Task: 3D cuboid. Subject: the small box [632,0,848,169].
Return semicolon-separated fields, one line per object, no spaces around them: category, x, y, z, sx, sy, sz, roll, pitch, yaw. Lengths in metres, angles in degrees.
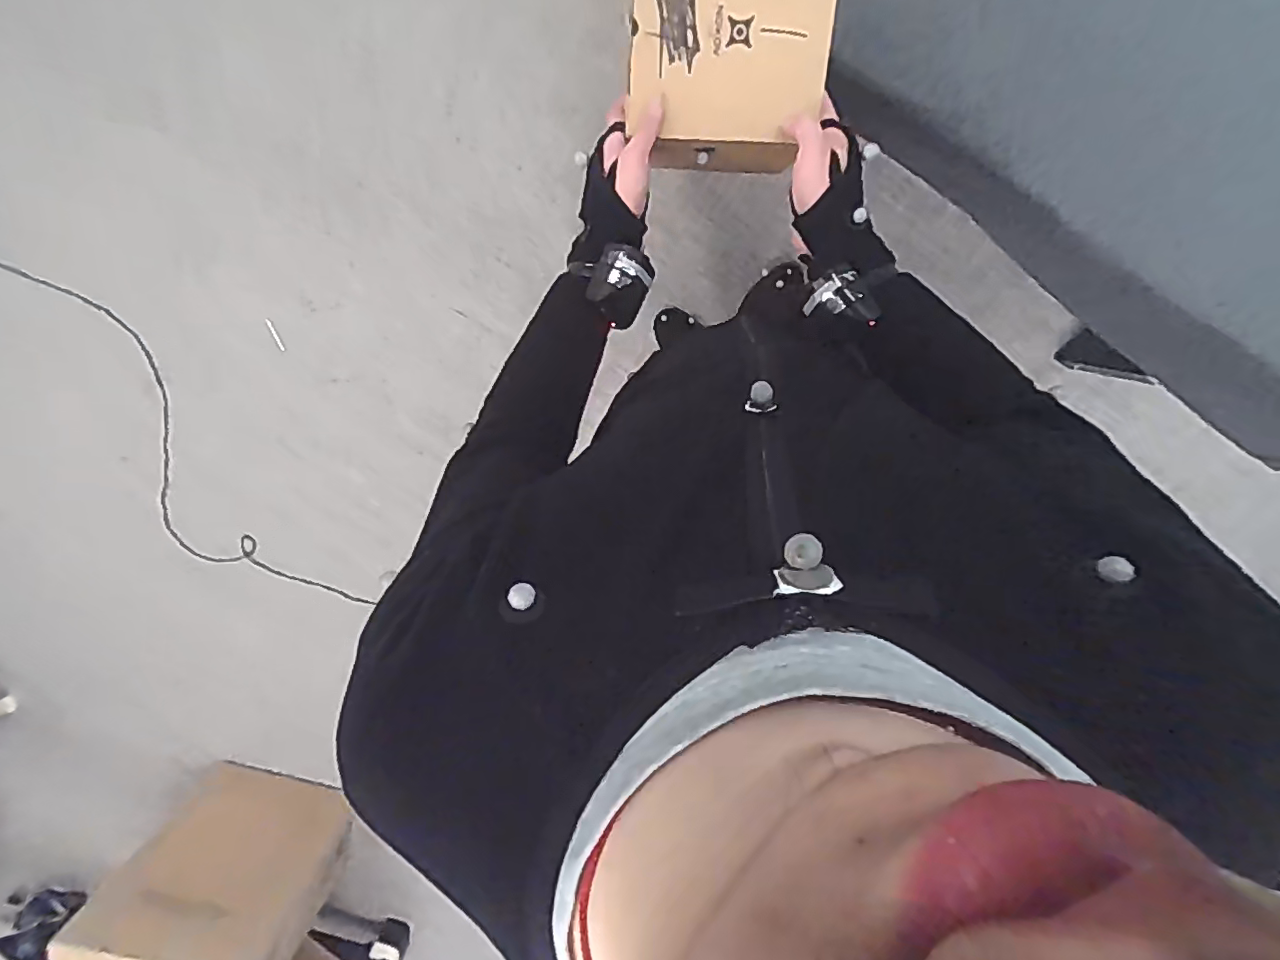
small box;0.086;-0.411;0.525;0.179;0.176;0.168;3;112;0
